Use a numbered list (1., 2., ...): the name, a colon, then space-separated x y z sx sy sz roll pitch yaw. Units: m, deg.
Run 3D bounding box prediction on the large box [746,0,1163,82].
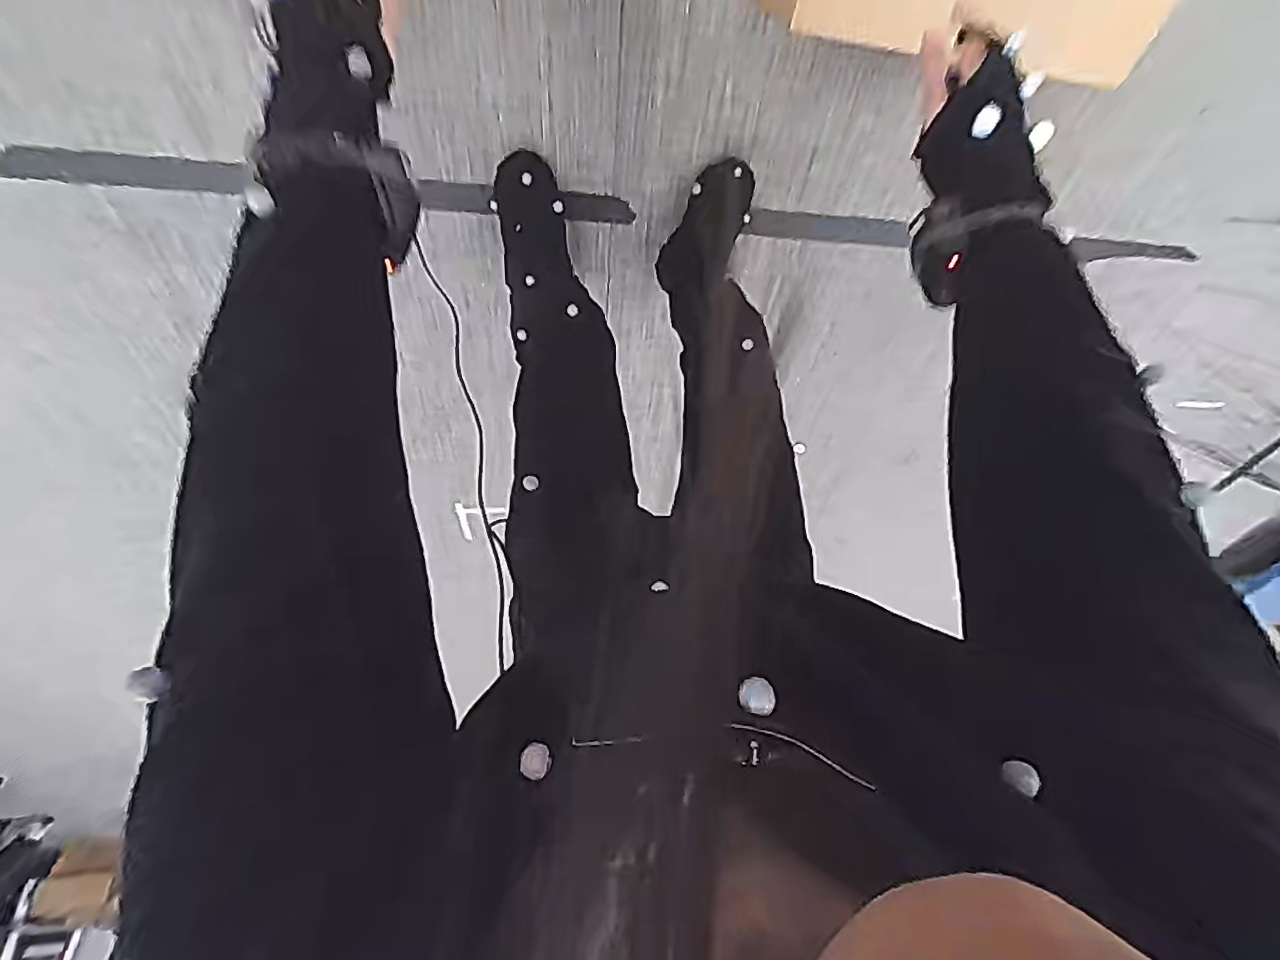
1. large box: 0.356 -0.679 0.587 0.408 0.320 0.320 2 138 -11
